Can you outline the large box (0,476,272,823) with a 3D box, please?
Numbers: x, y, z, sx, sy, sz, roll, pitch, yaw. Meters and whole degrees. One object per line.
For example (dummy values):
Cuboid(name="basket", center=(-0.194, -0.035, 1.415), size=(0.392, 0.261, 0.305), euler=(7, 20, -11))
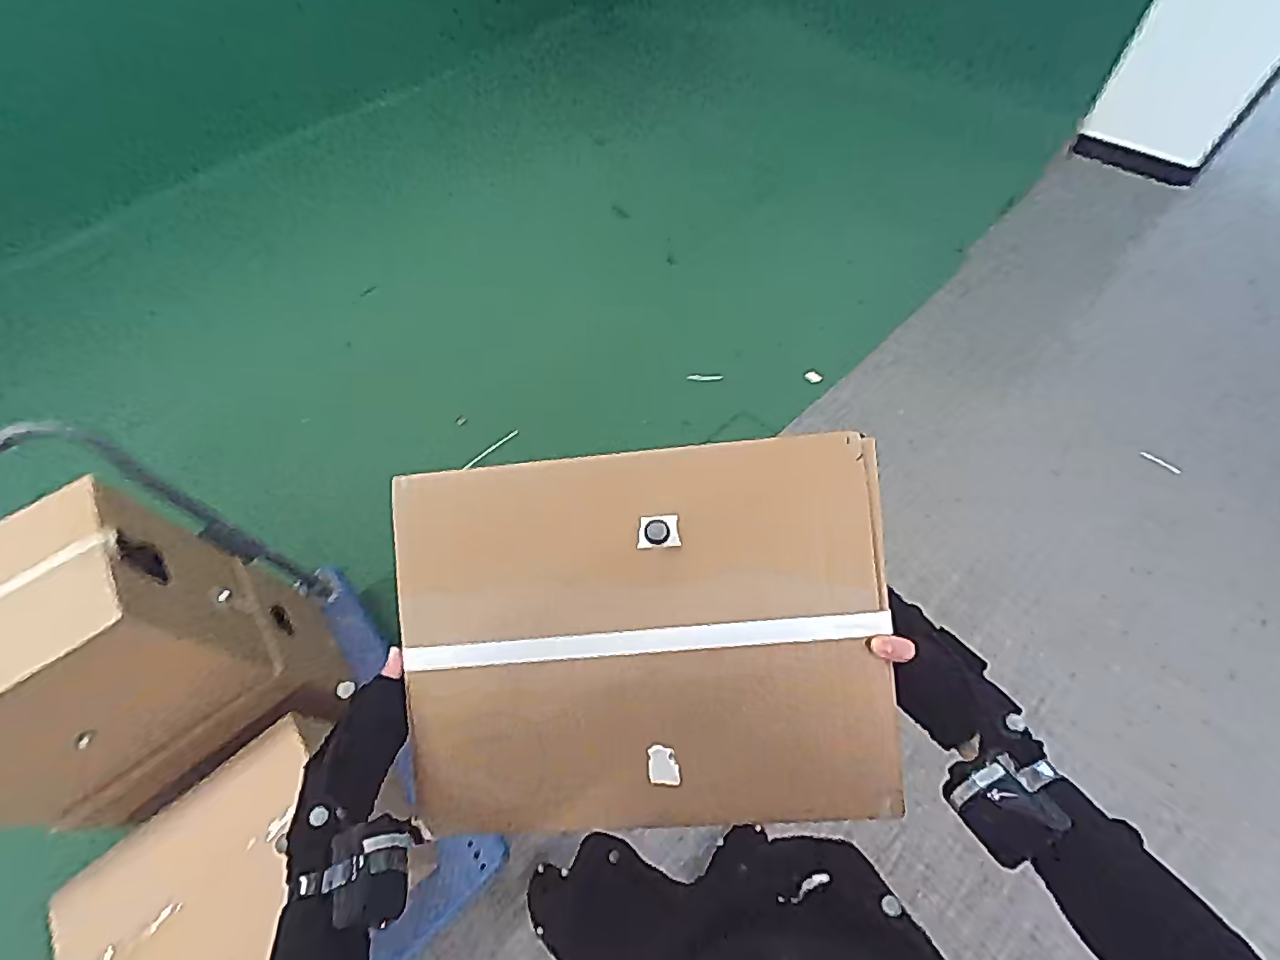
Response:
Cuboid(name="large box", center=(-0.924, 0.276, 0.874), size=(0.408, 0.320, 0.320), euler=(-36, 61, -14))
